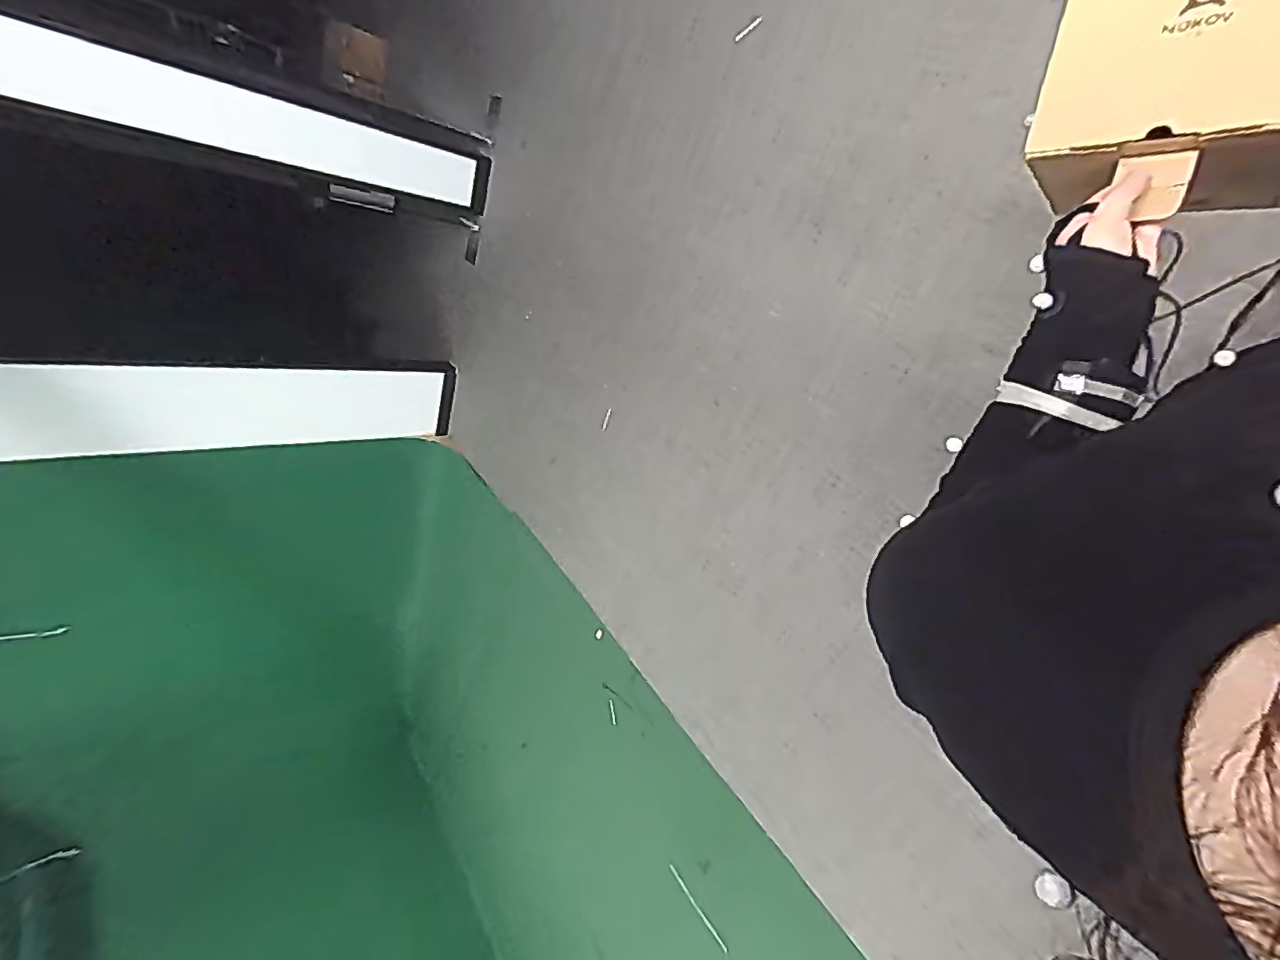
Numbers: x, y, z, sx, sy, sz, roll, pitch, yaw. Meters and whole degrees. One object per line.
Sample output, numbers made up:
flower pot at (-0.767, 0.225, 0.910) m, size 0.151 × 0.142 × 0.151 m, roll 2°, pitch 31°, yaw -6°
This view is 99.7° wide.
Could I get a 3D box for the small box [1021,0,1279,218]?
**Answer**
small box at (0.443, -0.332, 0.436) m, size 0.168 × 0.176 × 0.179 m, roll 22°, pitch 108°, yaw 42°
